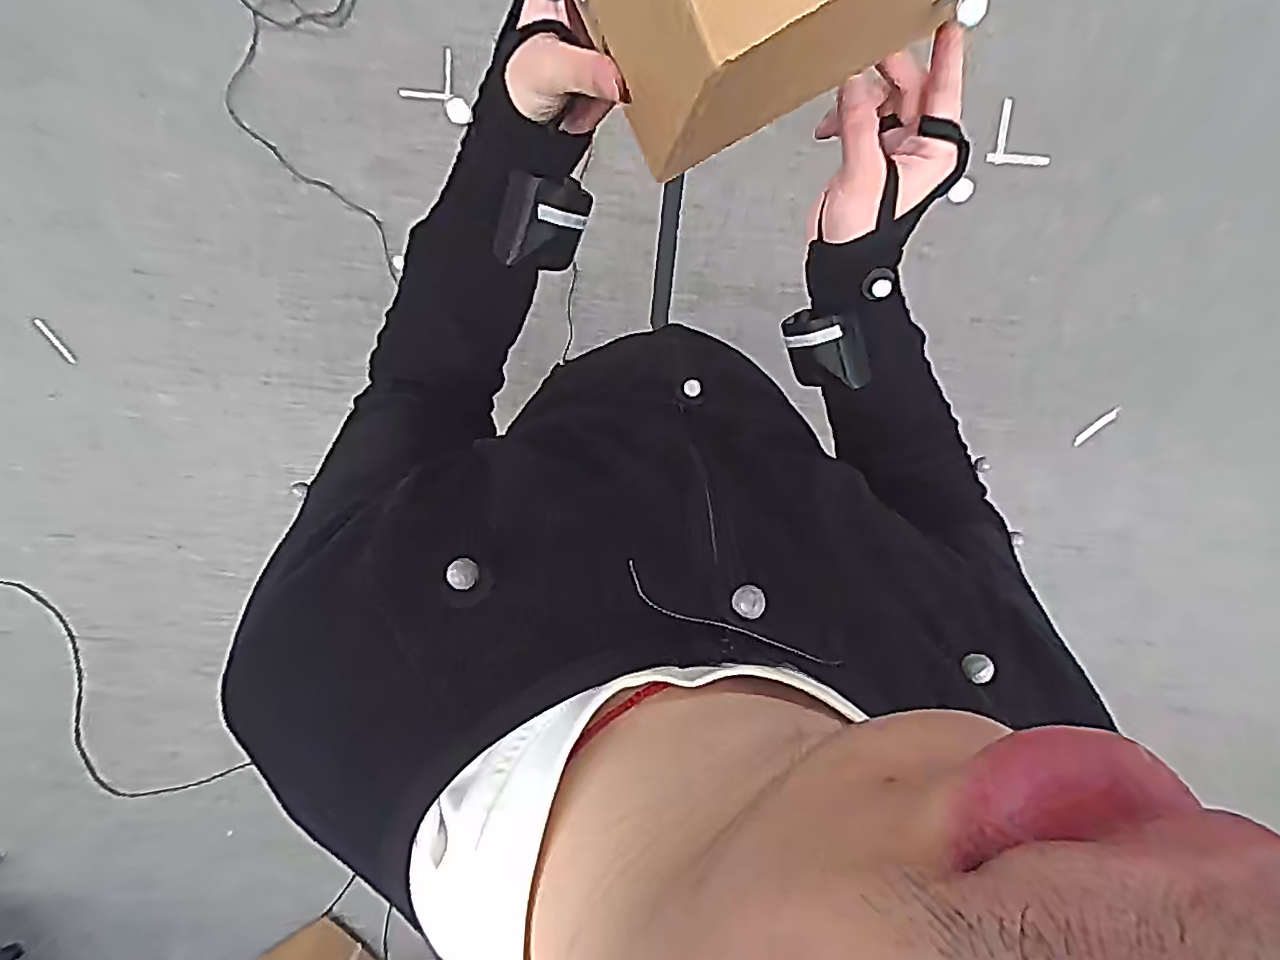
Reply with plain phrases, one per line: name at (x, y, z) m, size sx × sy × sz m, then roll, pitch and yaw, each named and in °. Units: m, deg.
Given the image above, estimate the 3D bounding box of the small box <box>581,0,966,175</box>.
small box at (0.060, -0.257, 0.214) m, size 0.179 × 0.176 × 0.168 m, roll -28°, pitch 107°, yaw 5°
